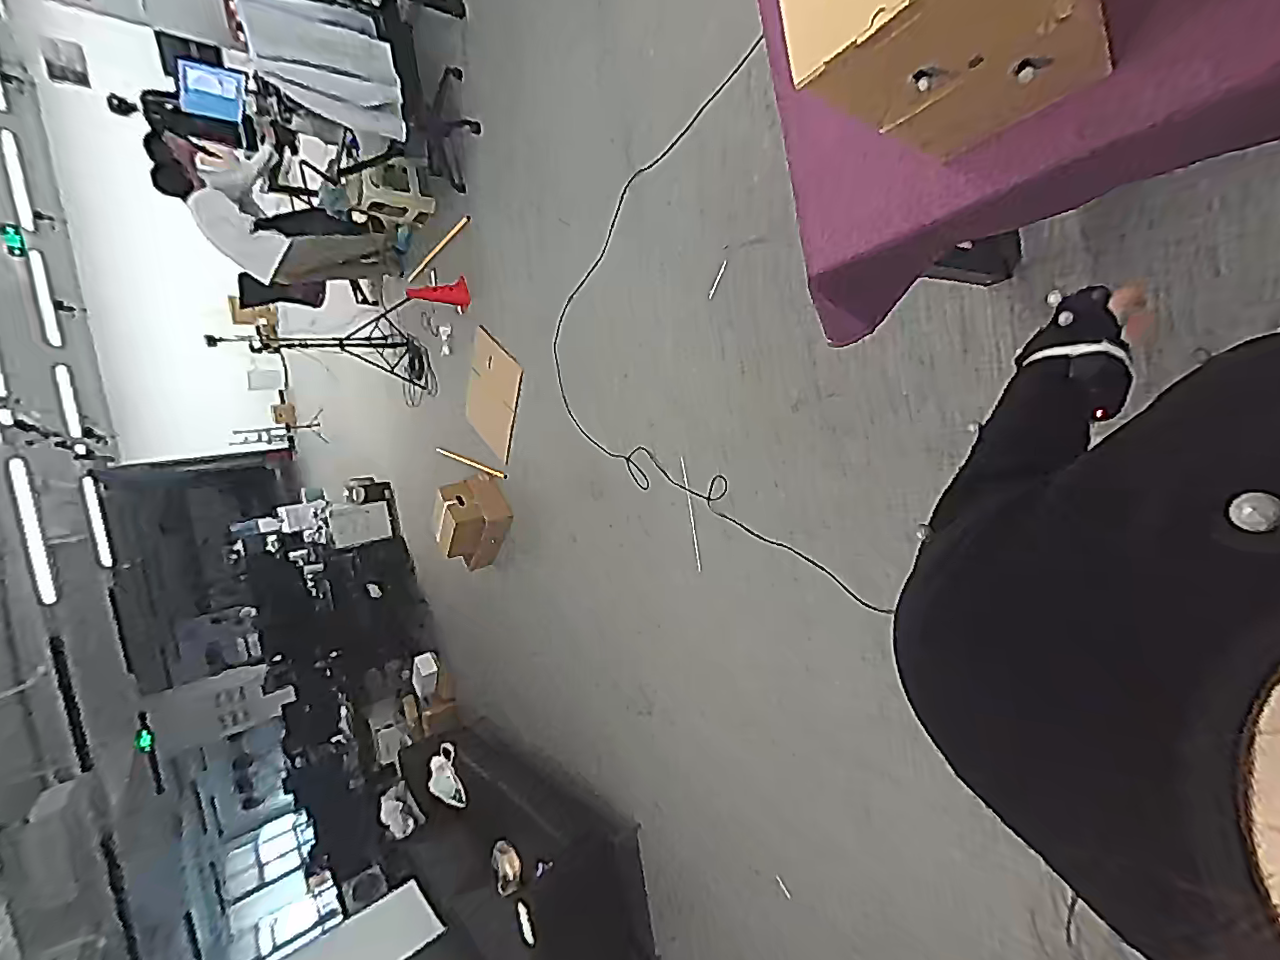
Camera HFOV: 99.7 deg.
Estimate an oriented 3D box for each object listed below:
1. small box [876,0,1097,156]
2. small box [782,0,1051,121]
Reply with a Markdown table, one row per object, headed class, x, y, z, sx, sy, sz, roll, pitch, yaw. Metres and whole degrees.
| class | x | y | z | sx | sy | sz | roll | pitch | yaw |
| --- | --- | --- | --- | --- | --- | --- | --- | --- | --- |
| small box | 0.370 | -0.494 | 0.591 | 0.179 | 0.176 | 0.168 | -9 | 92 | 51 |
| small box | 0.243 | -0.472 | 0.490 | 0.168 | 0.176 | 0.179 | -9 | 94 | 51 |
